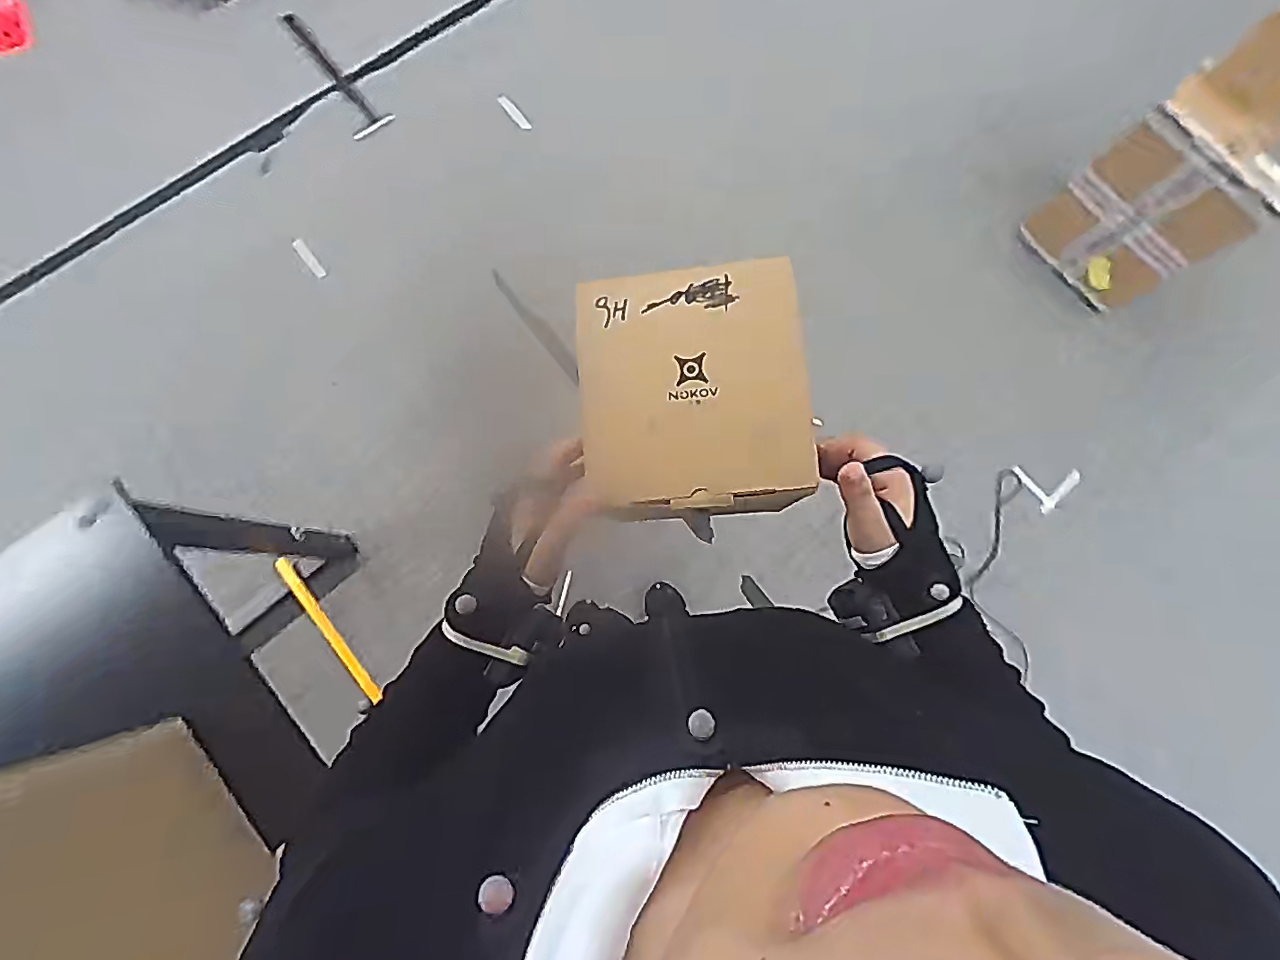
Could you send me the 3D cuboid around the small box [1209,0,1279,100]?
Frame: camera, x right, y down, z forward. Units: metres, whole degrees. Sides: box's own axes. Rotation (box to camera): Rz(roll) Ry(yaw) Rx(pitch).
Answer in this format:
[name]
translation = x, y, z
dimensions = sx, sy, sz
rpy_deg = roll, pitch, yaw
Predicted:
[small box]
translation = 1.464, -1.016, 1.213
dimensions = 0.179, 0.176, 0.168
rpy_deg = -41, 81, -6
